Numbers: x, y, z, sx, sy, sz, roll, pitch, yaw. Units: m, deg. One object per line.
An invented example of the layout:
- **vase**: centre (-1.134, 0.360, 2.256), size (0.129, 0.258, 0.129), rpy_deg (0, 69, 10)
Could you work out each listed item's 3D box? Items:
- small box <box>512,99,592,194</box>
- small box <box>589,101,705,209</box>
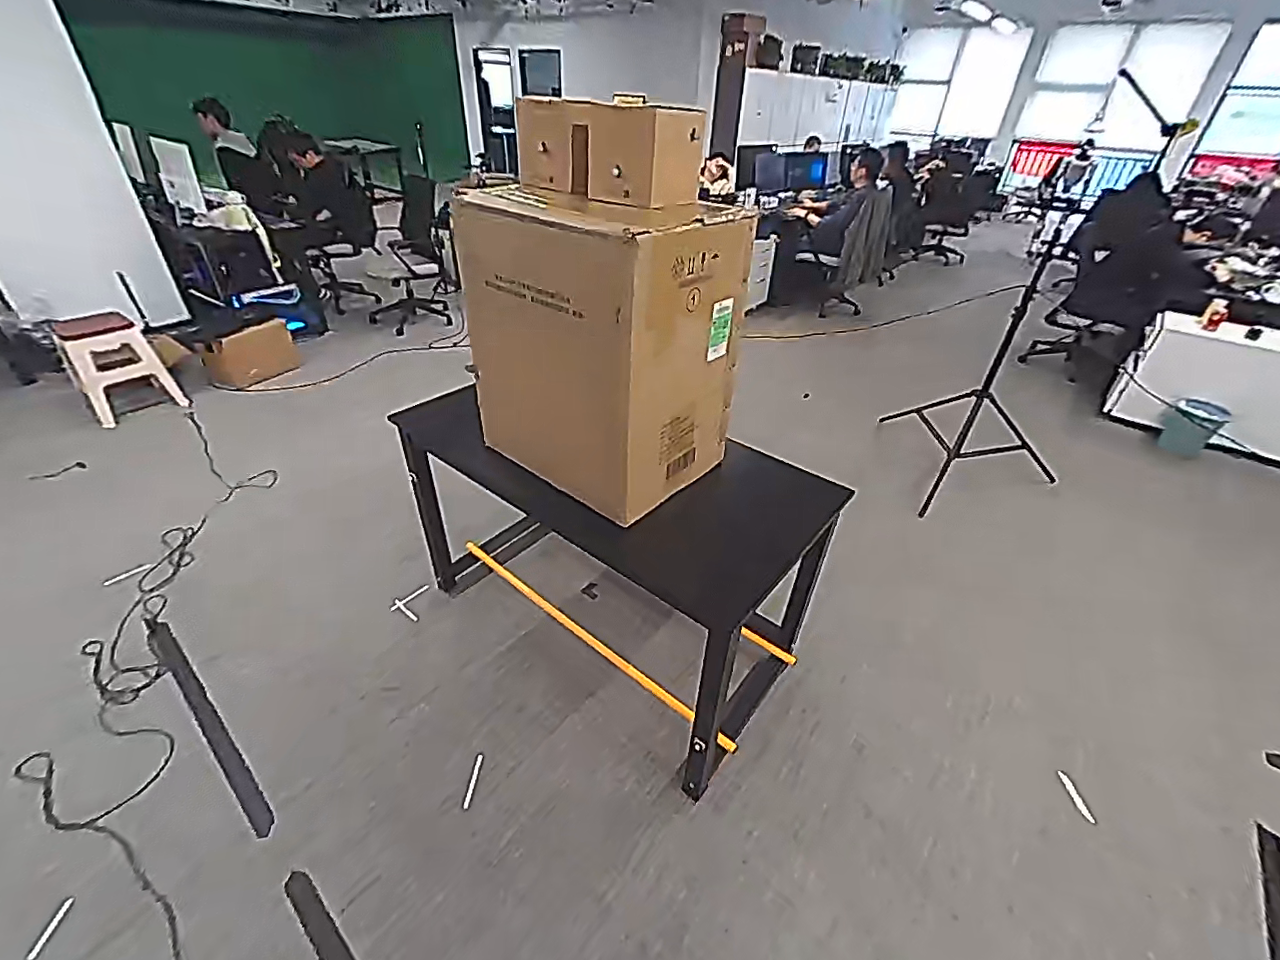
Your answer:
- **small box**: centre (-0.162, -0.752, 1.218), size (0.168, 0.176, 0.179), rpy_deg (25, 41, 26)
- **small box**: centre (0.009, -0.659, 1.099), size (0.168, 0.176, 0.179), rpy_deg (25, 39, 29)
